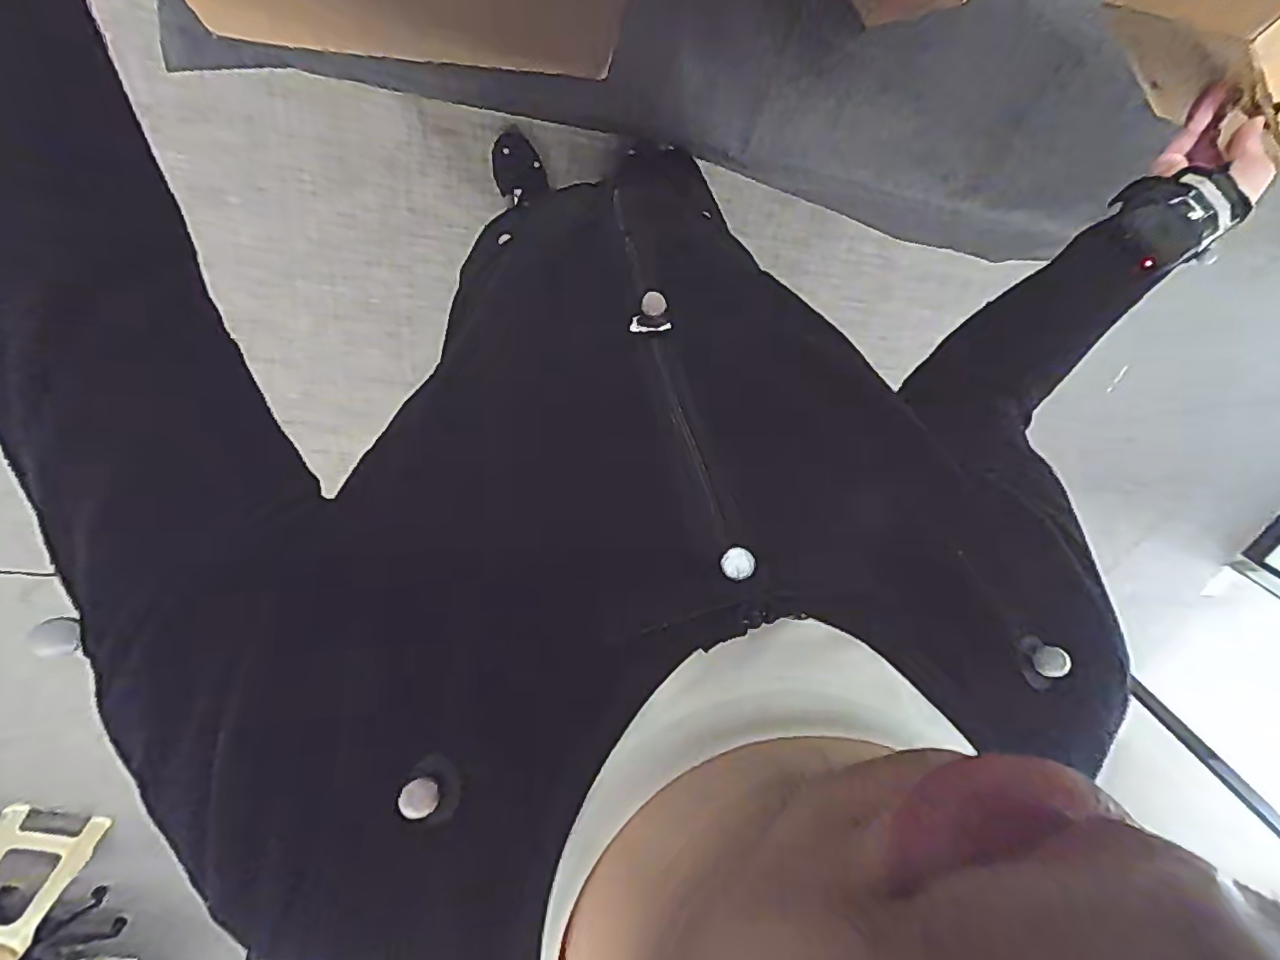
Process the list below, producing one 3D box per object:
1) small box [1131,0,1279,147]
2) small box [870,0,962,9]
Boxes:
[{"bbox_3d":[0.563,-0.418,0.443,0.168,0.176,0.179,20,131,-31],"label":"small box"},{"bbox_3d":[0.268,-0.560,0.468,0.168,0.176,0.179,-41,122,20],"label":"small box"}]
